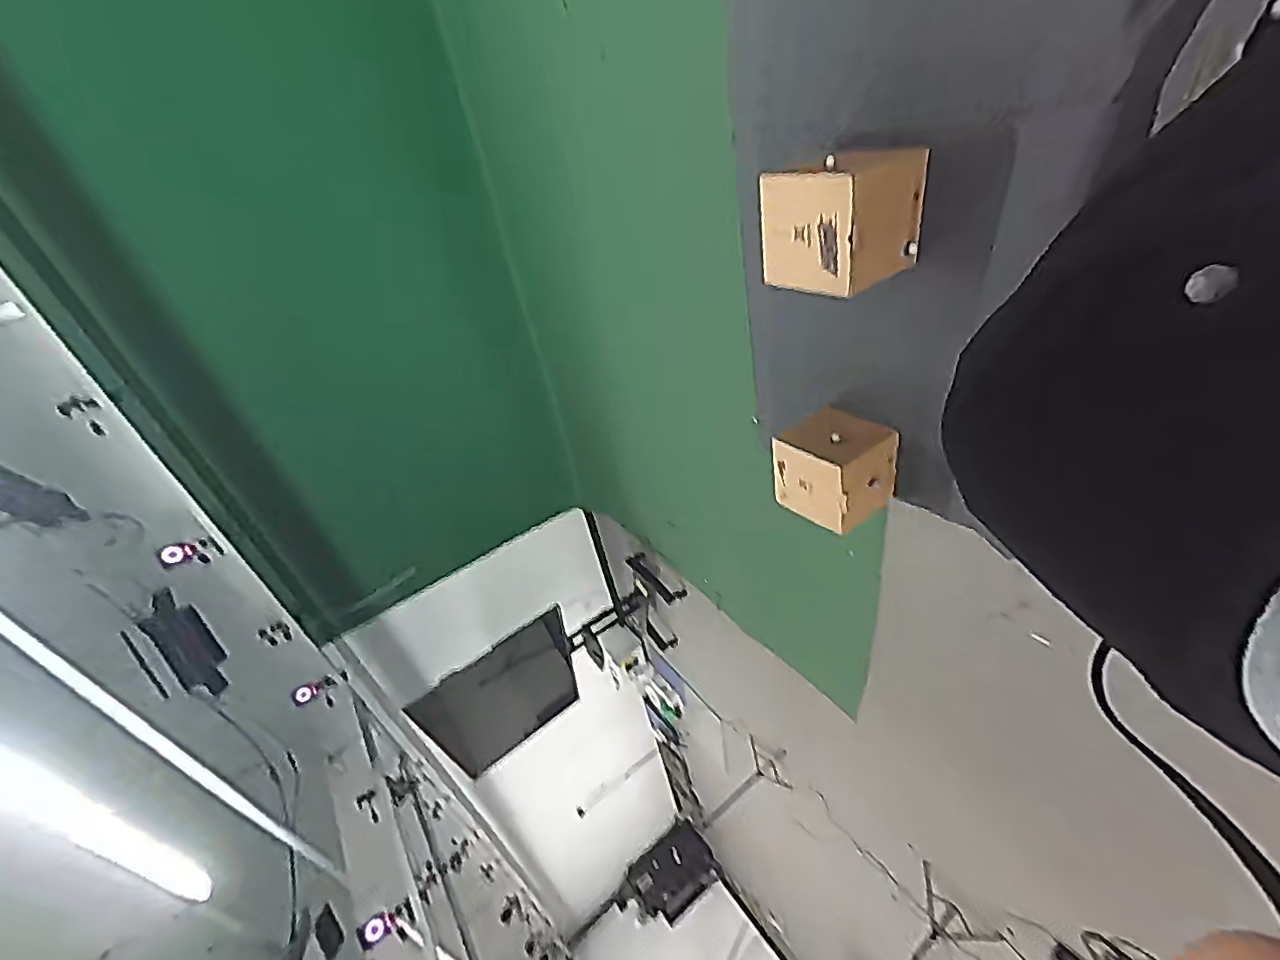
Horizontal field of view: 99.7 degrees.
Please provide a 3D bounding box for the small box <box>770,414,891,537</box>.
[{"bbox_3d":[0.394,-0.018,1.121,0.179,0.176,0.168,31,142,47],"label":"small box"}]

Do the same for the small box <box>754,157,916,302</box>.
[{"bbox_3d":[0.306,-0.400,0.855,0.179,0.176,0.168,34,146,46],"label":"small box"}]
